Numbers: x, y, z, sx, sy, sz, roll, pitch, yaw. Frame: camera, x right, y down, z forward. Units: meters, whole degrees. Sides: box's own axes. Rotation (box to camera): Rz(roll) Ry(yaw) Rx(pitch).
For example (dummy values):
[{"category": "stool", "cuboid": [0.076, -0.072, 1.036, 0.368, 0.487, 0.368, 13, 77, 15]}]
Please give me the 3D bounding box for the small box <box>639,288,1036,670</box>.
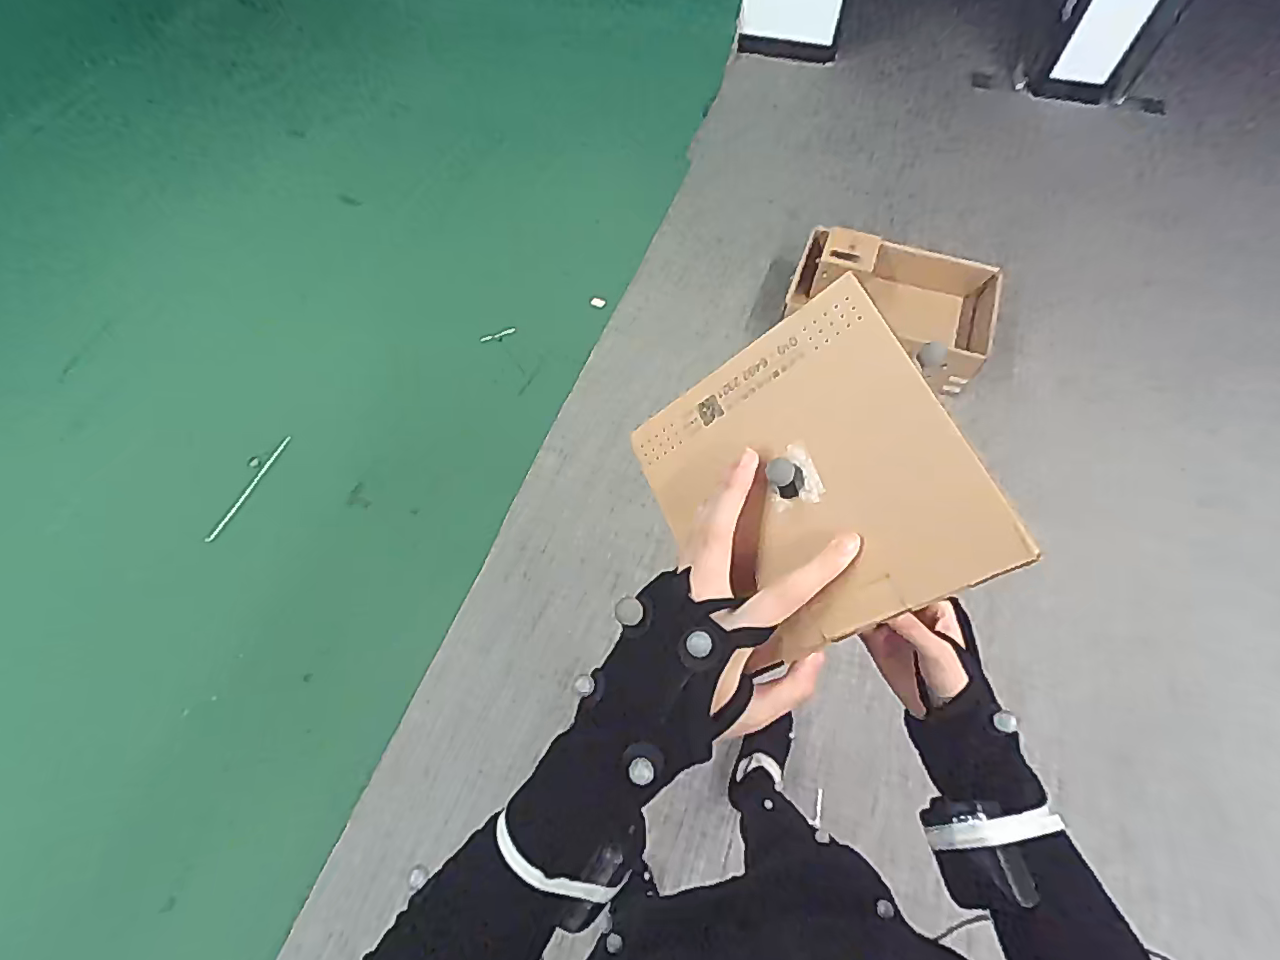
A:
[{"category": "small box", "cuboid": [0.127, 0.002, 0.365, 0.168, 0.179, 0.176, -33, 70, 28]}]
